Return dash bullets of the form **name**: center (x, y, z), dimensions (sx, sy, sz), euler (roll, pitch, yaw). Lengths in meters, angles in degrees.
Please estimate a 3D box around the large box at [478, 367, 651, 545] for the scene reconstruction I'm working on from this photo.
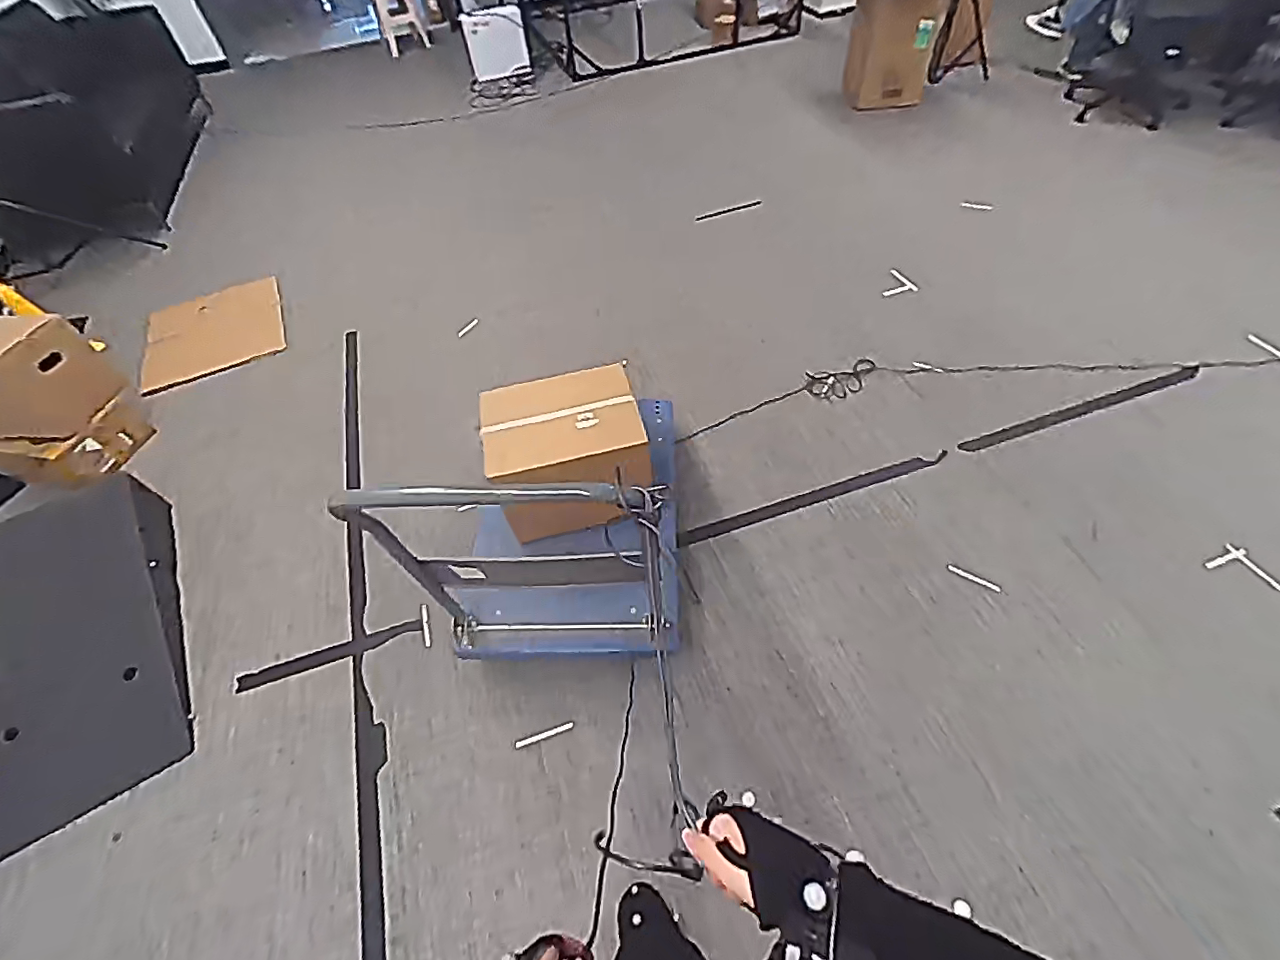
- **large box**: center (-0.203, -0.063, 1.513), dimensions (0.408, 0.320, 0.320), euler (-13, 53, -5)
